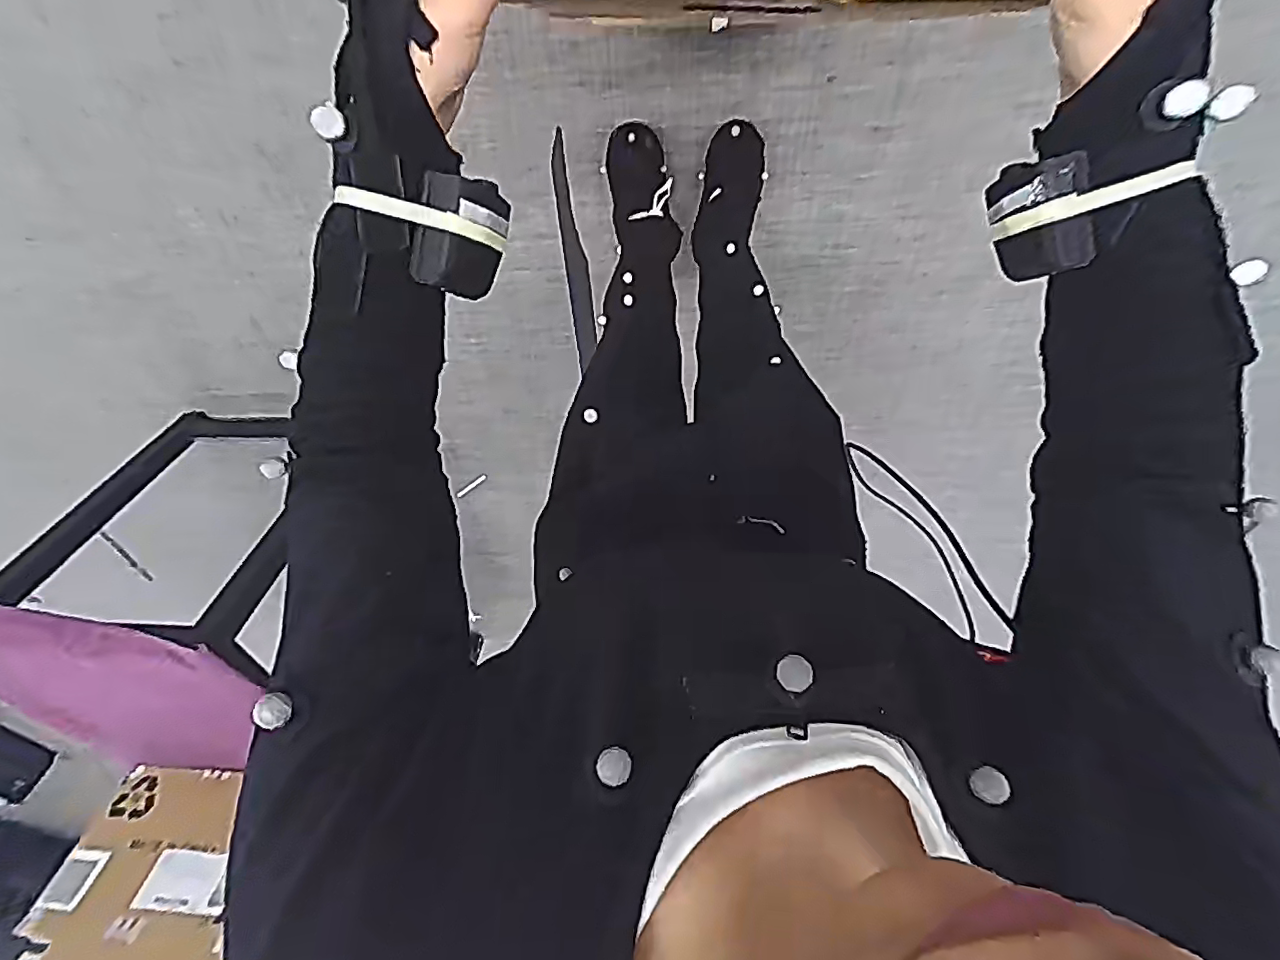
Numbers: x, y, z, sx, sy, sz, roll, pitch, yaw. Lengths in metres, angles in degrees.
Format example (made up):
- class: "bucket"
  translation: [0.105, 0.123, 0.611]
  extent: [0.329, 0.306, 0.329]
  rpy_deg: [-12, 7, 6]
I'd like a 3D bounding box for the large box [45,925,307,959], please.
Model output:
- class: "large box"
  translation: [-1.020, 1.151, 1.123]
  extent: [0.408, 0.320, 0.320]
  rpy_deg: [1, 137, 4]
